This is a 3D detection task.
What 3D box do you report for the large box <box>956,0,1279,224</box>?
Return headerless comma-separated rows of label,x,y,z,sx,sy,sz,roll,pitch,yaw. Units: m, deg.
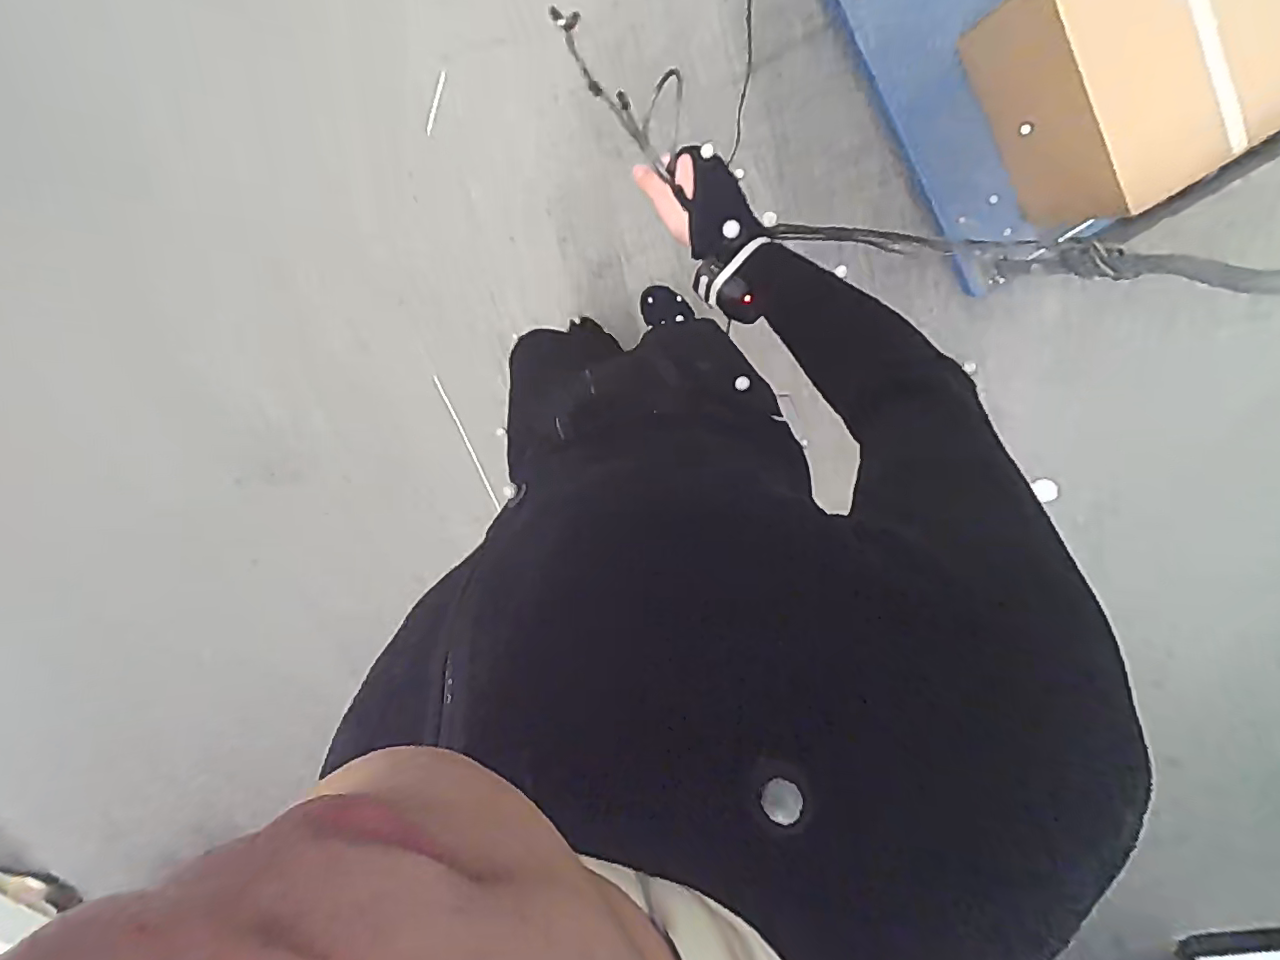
large box,0.842,-0.724,0.948,0.320,0.320,0.408,-31,107,17
